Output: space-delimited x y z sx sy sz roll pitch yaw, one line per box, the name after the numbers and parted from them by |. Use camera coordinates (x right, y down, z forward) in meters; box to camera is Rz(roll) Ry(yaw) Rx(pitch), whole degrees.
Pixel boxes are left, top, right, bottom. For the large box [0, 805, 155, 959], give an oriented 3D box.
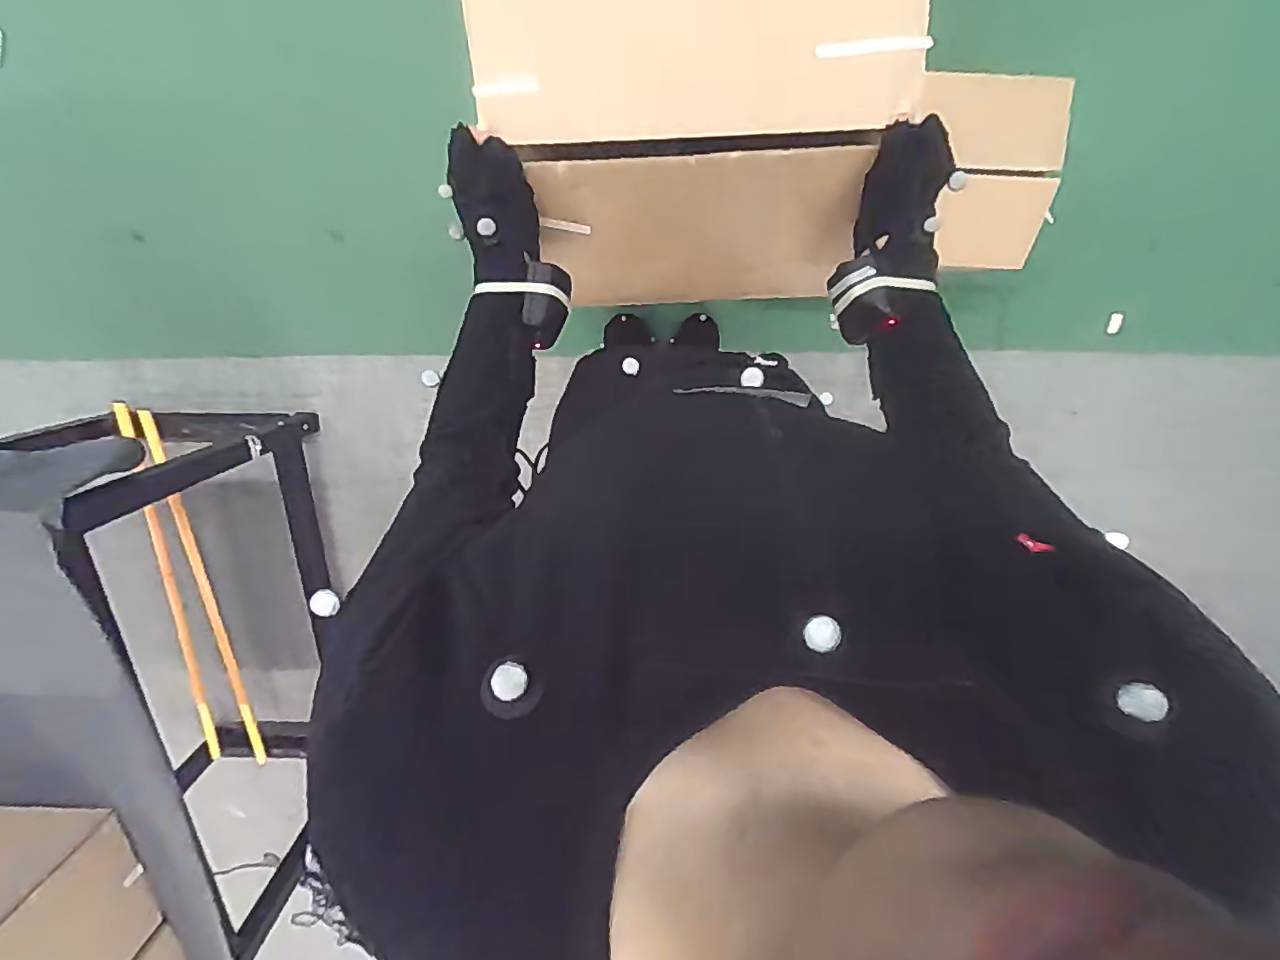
-1.167 0.788 0.896 0.408 0.320 0.320 0 110 0 | large box
